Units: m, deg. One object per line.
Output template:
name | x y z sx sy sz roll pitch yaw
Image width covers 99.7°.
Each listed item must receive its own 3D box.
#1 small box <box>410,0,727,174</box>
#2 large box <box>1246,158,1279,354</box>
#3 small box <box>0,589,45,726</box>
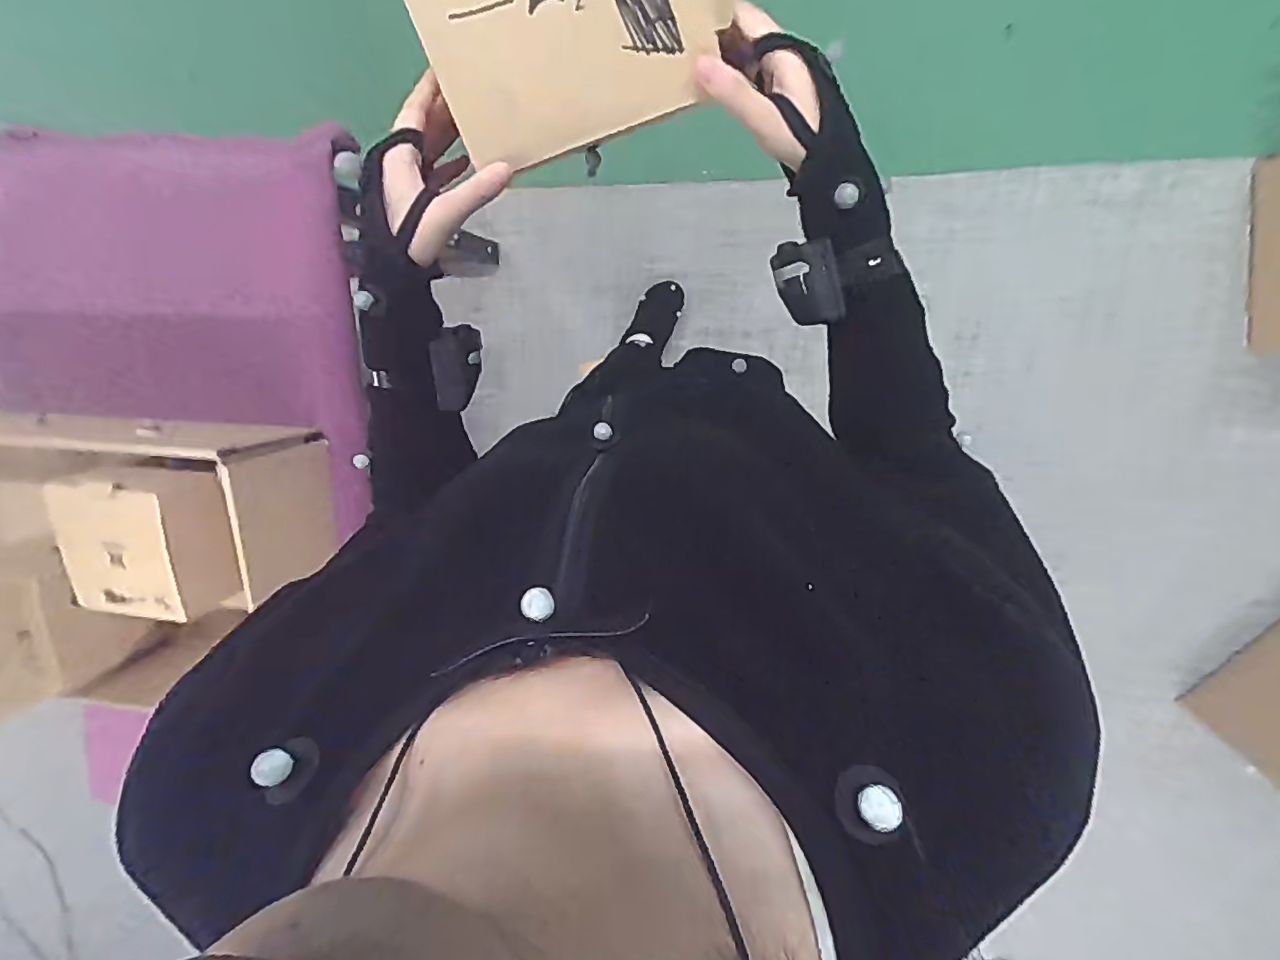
small box | -0.055 -0.335 0.380 0.179 0.176 0.168 -17 121 5
large box | 1.468 -0.473 1.022 0.320 0.320 0.408 -12 101 11
small box | -0.891 0.236 0.657 0.179 0.176 0.168 5 105 6
